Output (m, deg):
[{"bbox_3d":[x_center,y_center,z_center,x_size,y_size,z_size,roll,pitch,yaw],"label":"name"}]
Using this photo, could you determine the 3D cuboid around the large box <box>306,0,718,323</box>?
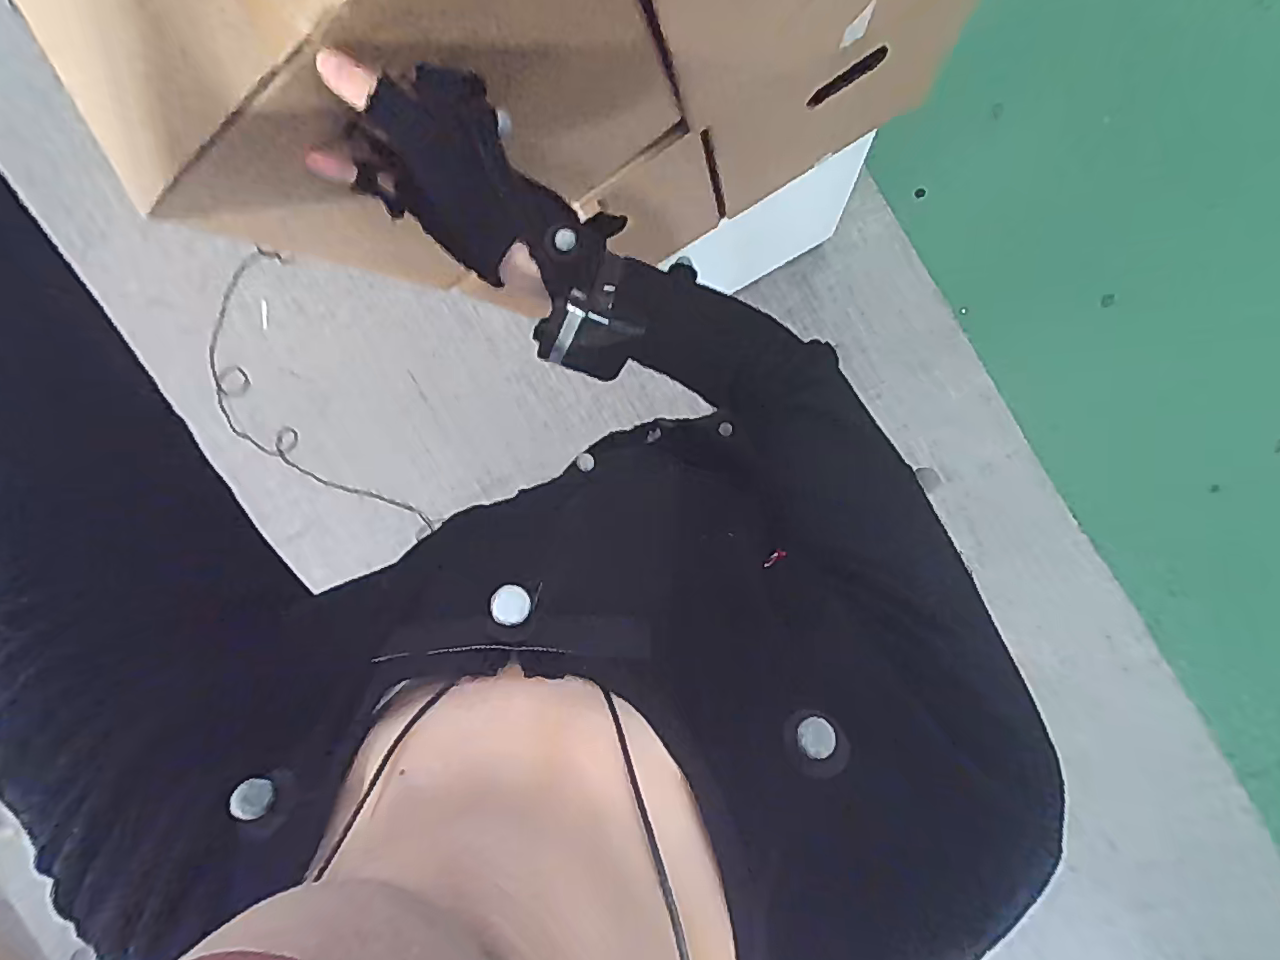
[{"bbox_3d":[-0.134,-0.483,0.722,0.320,0.320,0.408,-29,90,13],"label":"large box"}]
